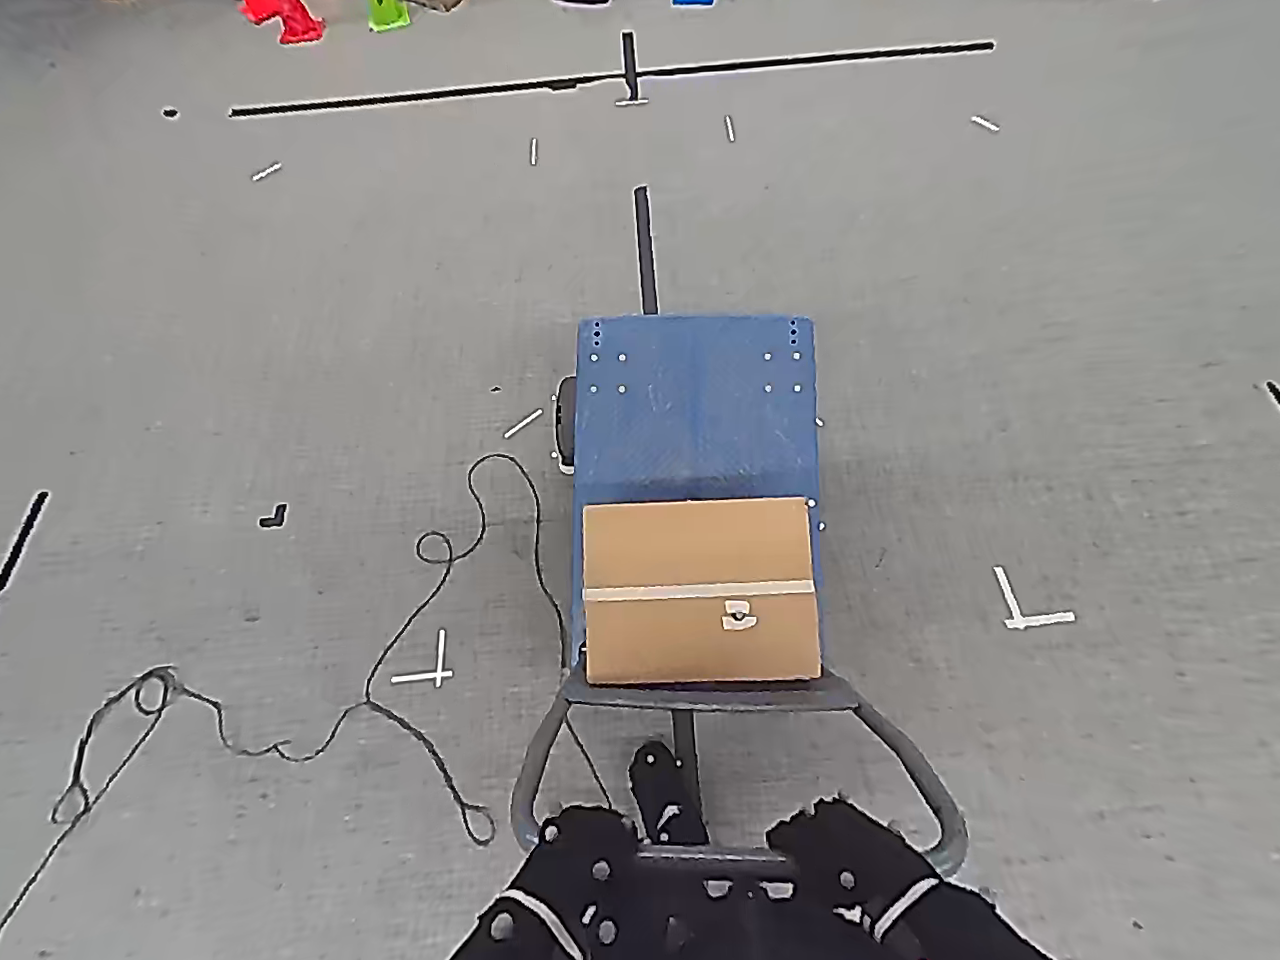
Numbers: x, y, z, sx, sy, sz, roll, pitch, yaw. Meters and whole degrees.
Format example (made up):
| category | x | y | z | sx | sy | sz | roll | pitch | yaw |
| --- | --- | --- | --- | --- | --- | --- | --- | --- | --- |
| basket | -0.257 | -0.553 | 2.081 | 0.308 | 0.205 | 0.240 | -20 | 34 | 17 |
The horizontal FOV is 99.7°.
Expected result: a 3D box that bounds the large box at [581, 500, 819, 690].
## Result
| category | x | y | z | sx | sy | sz | roll | pitch | yaw |
| --- | --- | --- | --- | --- | --- | --- | --- | --- | --- |
| large box | 0.103 | 0.218 | 1.093 | 0.408 | 0.320 | 0.320 | -3 | 83 | 1 |
